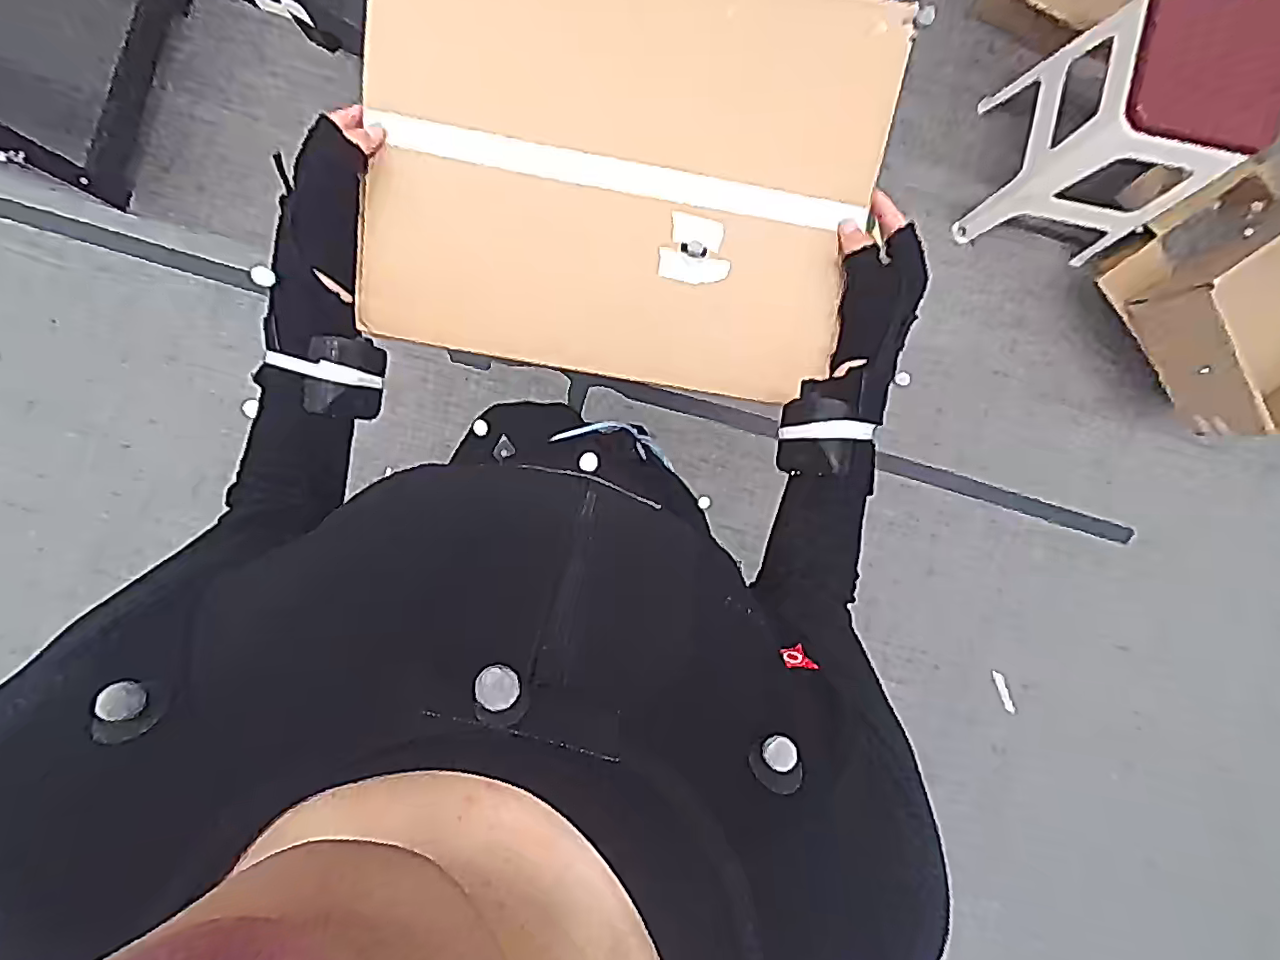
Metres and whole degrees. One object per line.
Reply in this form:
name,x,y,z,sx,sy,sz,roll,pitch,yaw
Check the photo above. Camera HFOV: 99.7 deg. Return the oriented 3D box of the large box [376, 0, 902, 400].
large box,-0.018,-0.282,0.590,0.408,0.320,0.320,9,104,-6
